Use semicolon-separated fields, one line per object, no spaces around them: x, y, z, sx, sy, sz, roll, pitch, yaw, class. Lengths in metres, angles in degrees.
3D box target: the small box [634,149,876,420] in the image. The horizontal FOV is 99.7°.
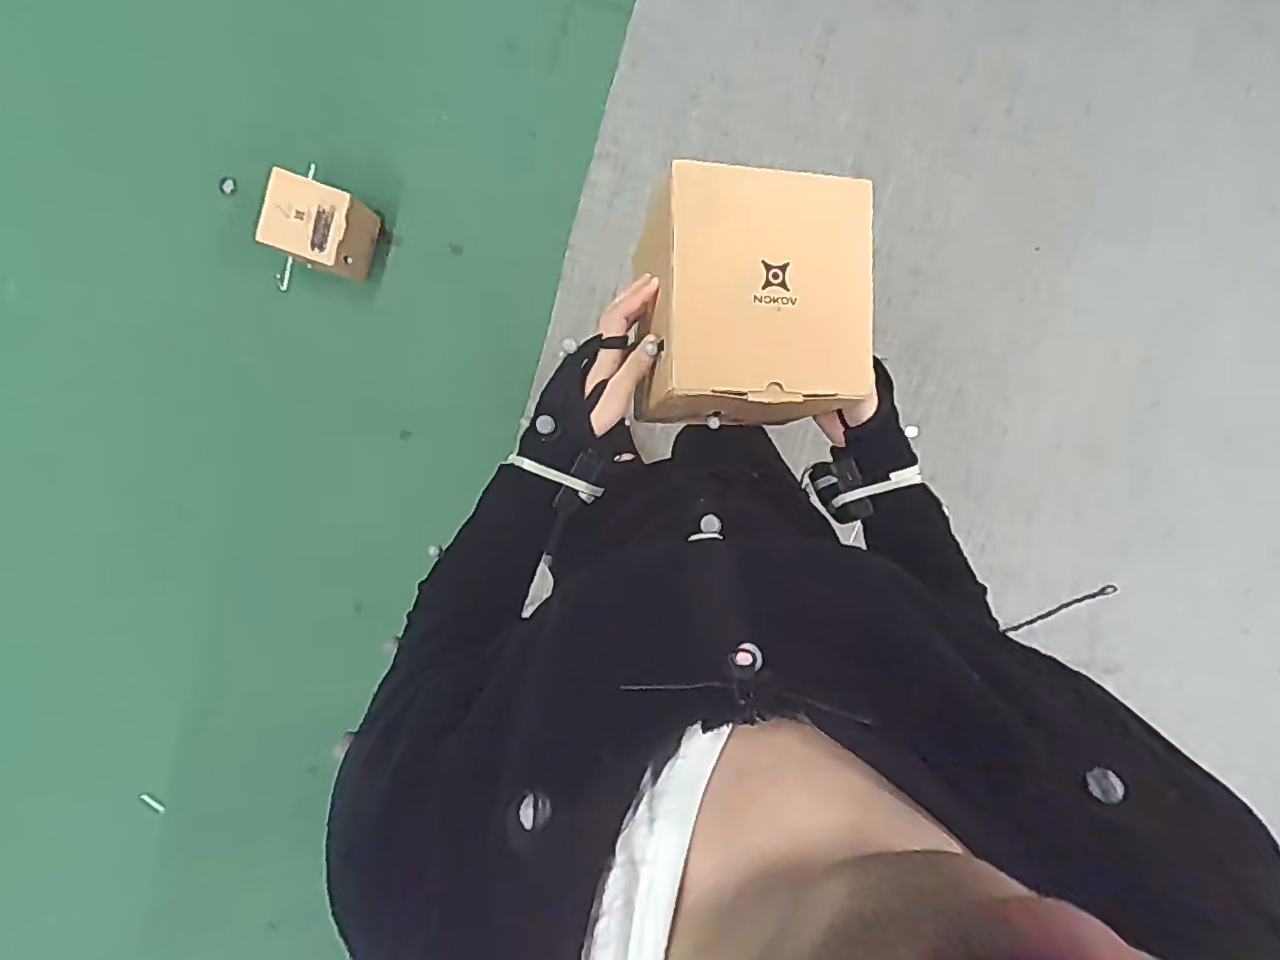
0.087;-0.153;0.484;0.168;0.176;0.179;0;89;-10;small box
